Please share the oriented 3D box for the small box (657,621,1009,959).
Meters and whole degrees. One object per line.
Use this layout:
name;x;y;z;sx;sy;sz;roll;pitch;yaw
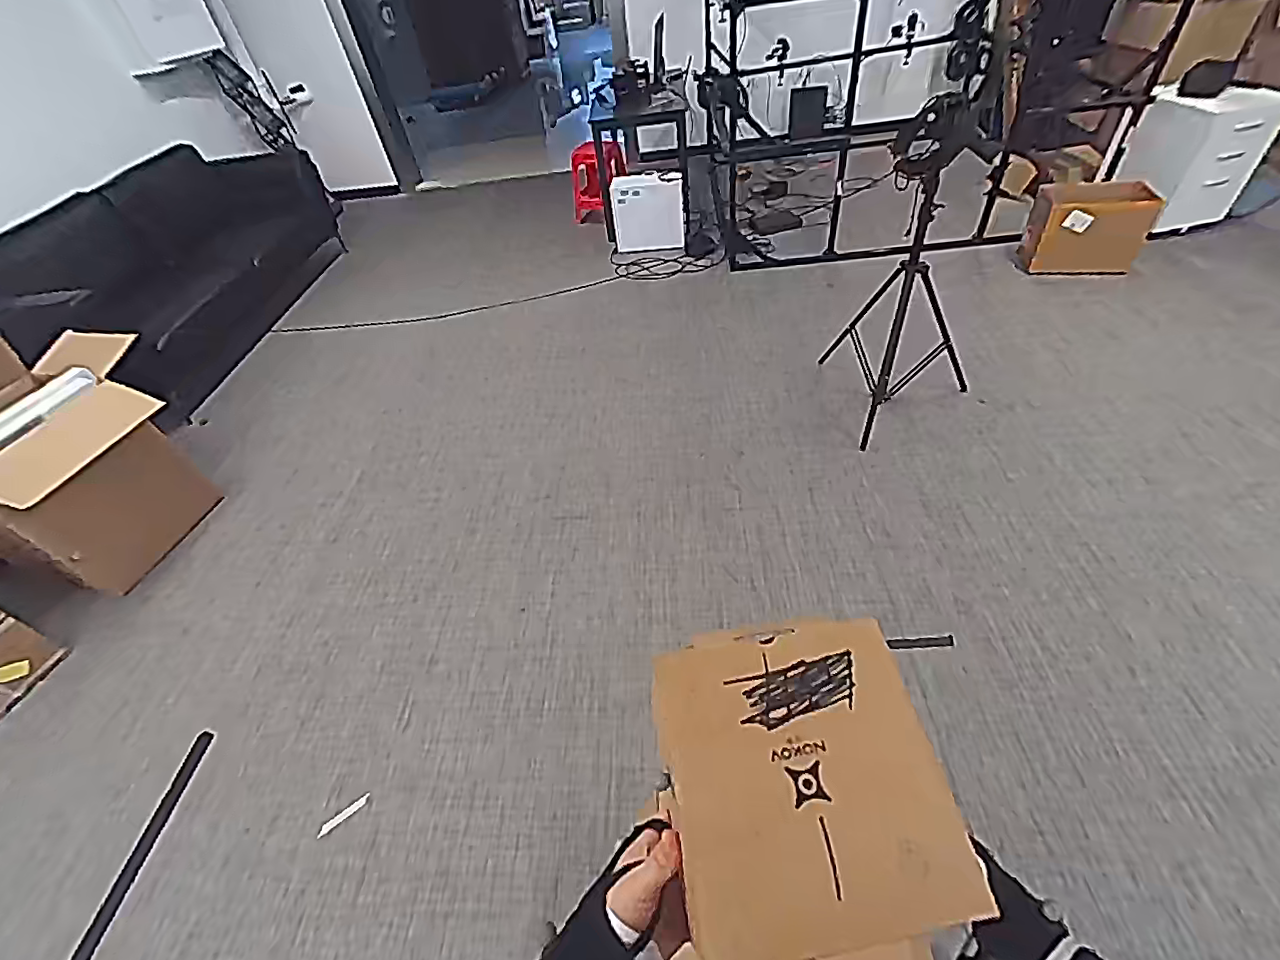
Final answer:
small box;0.106;0.225;0.395;0.168;0.176;0.179;-8;55;-4
